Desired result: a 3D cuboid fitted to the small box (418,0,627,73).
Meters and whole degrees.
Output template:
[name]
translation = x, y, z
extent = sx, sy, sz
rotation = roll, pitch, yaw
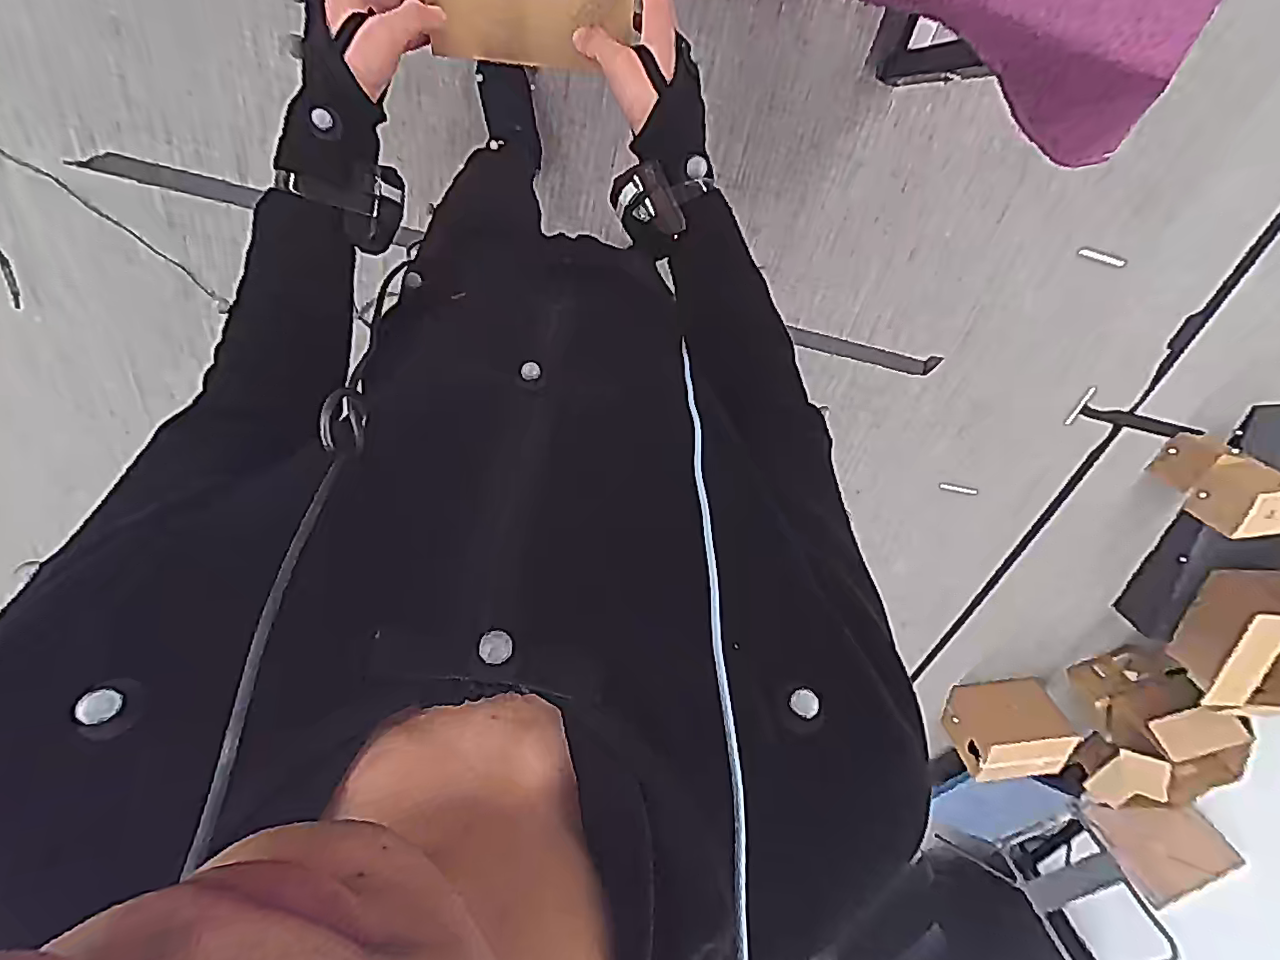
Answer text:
[small box]
translation = -0.092, -0.468, 0.450
extent = 0.168, 0.176, 0.179
rotation = 1, 132, -9
